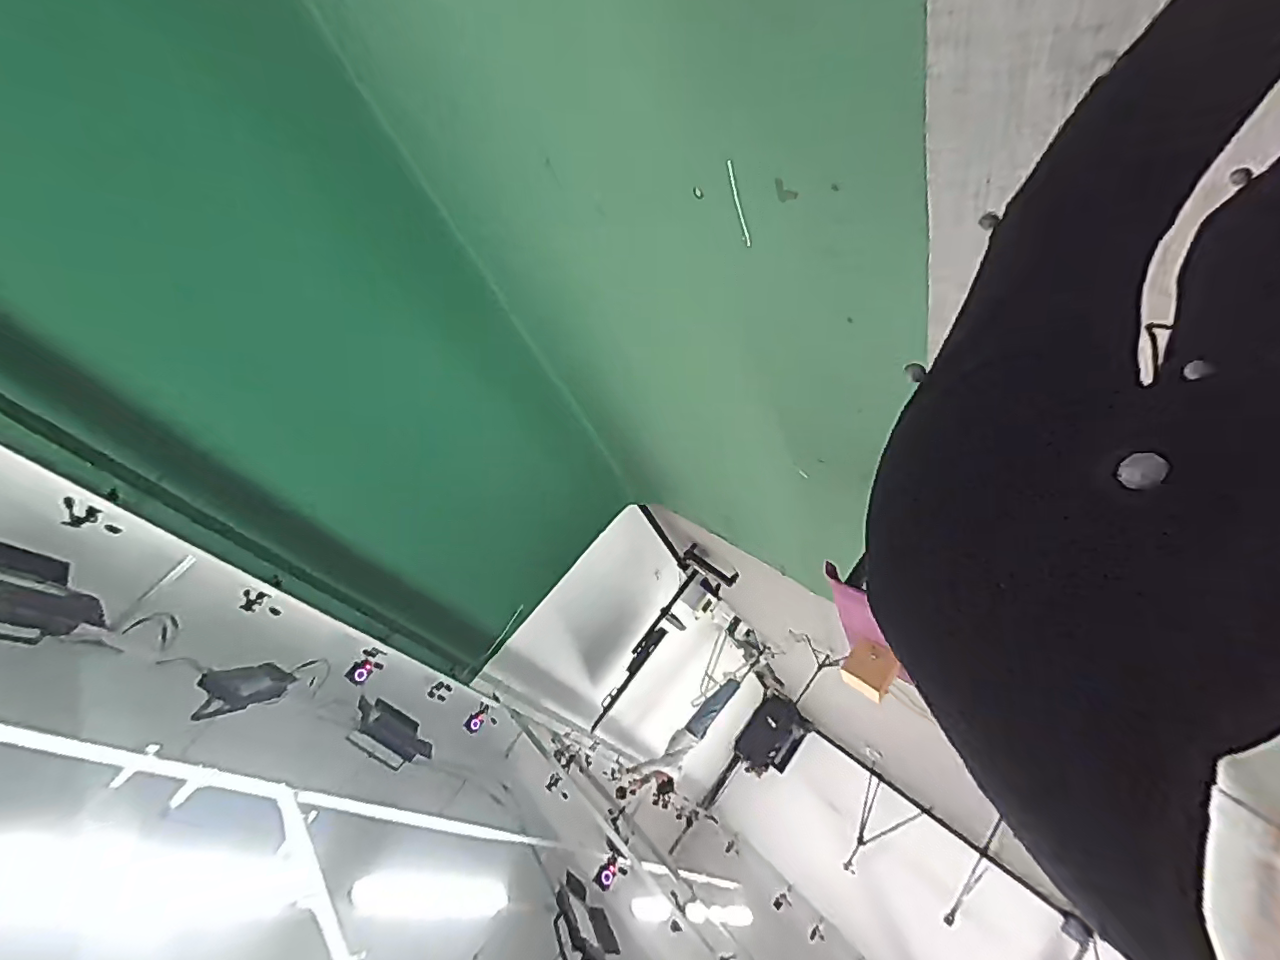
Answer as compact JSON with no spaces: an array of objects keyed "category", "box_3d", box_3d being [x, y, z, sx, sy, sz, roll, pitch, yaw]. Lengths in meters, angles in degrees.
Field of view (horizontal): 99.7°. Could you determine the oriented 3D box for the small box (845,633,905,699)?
[{"category":"small box","box_3d":[0.964,0.760,2.213,0.168,0.176,0.179,28,160,37]}]
